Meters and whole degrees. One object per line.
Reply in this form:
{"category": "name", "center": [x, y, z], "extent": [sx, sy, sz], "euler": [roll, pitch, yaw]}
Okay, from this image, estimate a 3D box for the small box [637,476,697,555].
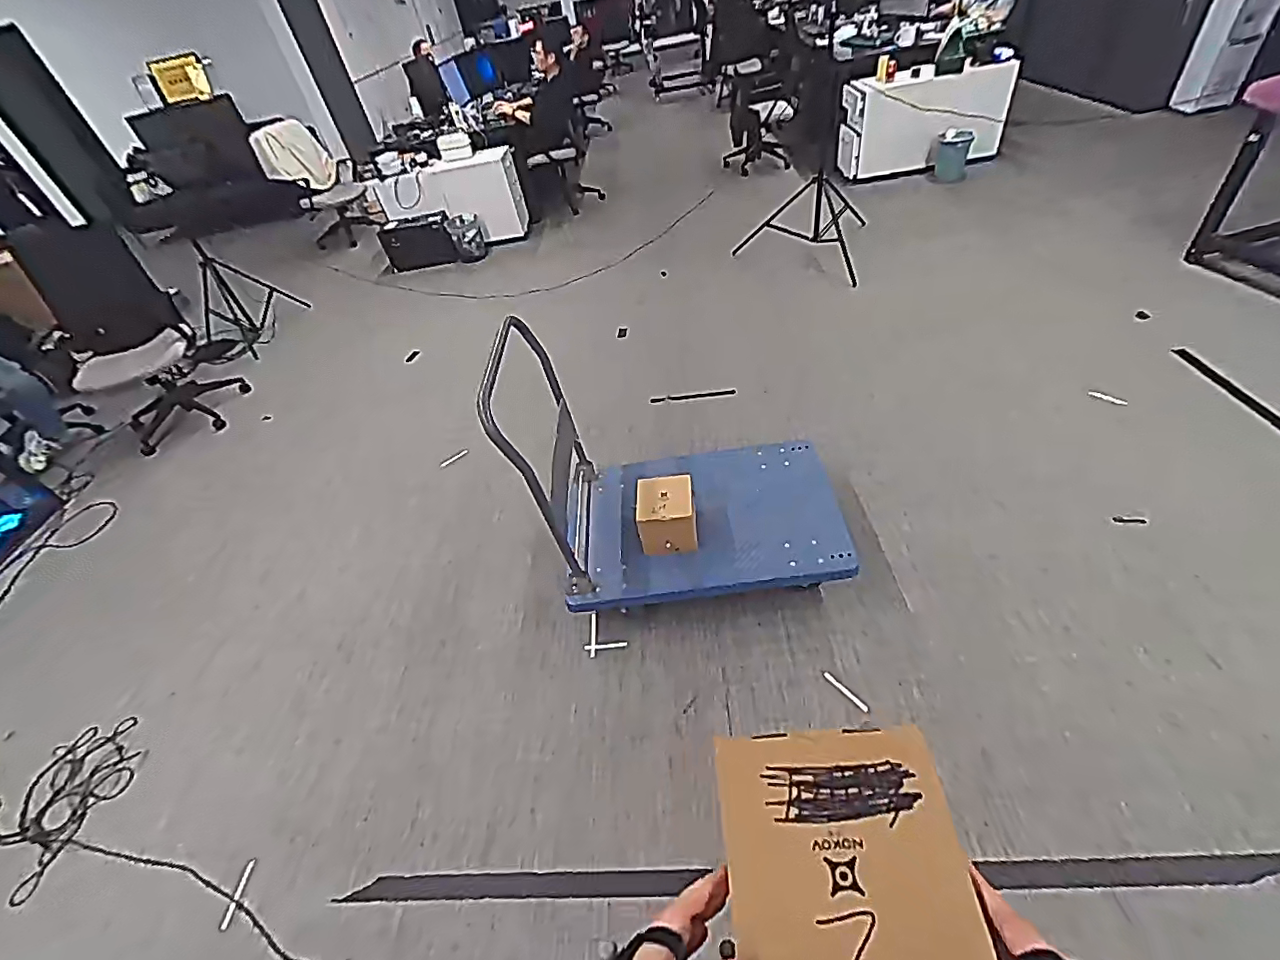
{"category": "small box", "center": [0.087, 0.111, 1.669], "extent": [0.168, 0.176, 0.179], "euler": [-6, 44, 8]}
